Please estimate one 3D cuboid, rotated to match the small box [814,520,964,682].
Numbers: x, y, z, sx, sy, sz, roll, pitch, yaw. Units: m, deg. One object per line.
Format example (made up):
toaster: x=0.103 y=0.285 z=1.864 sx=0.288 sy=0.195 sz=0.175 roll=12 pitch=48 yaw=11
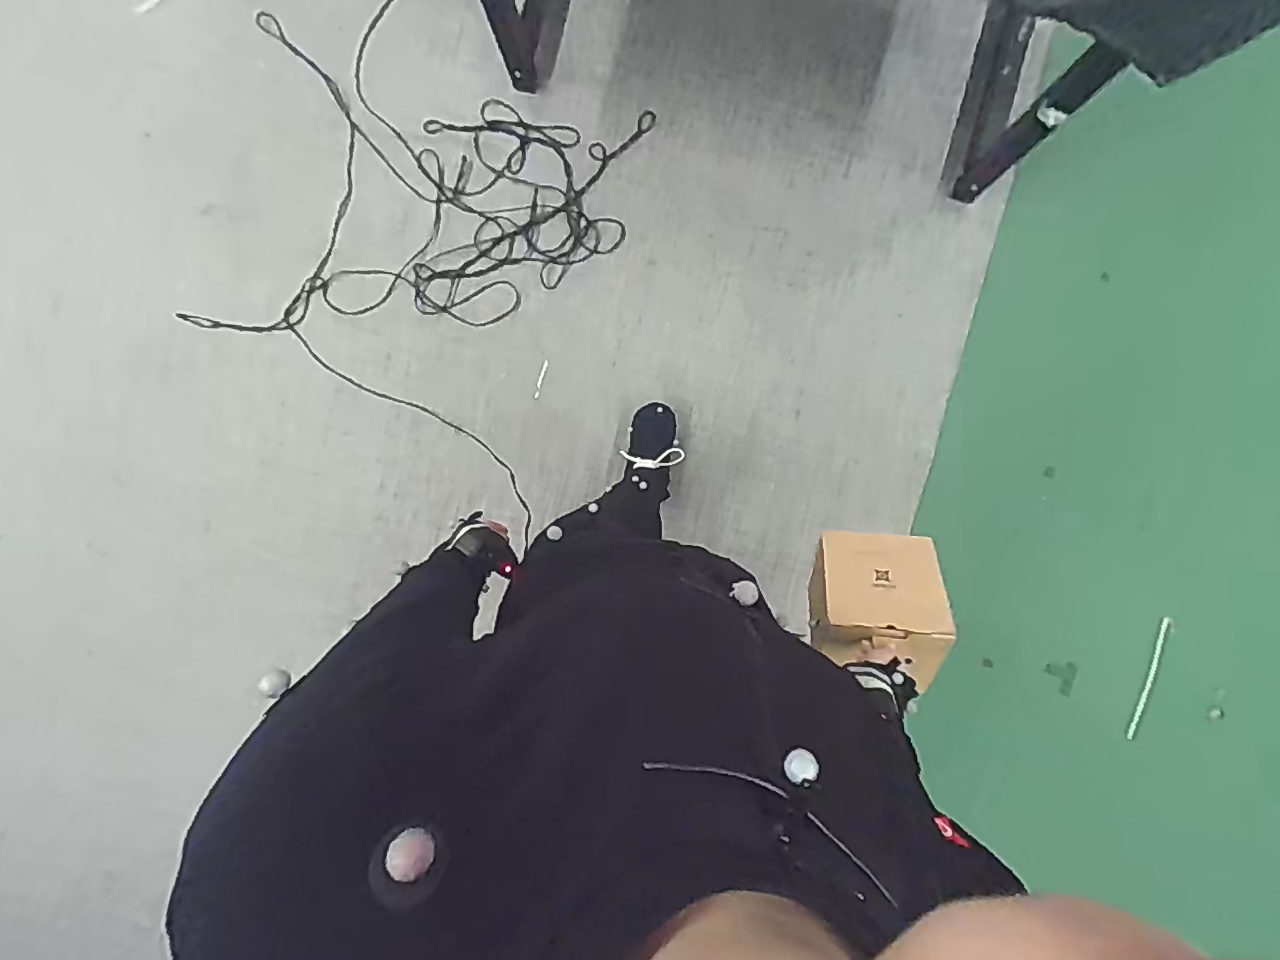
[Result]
small box: x=0.364 y=0.186 z=0.827 sx=0.168 sy=0.179 sz=0.176 roll=4 pitch=134 yaw=11
